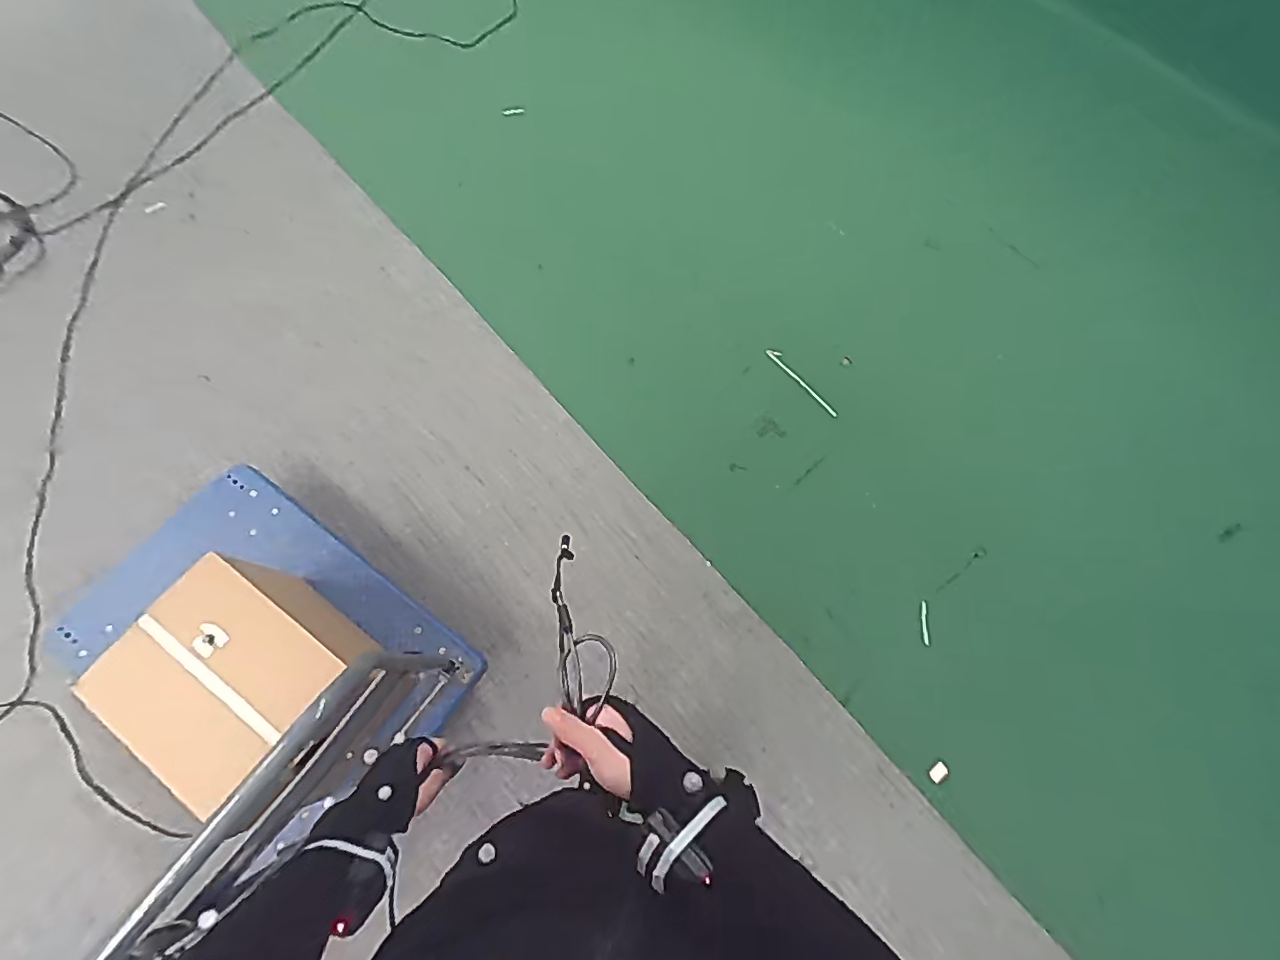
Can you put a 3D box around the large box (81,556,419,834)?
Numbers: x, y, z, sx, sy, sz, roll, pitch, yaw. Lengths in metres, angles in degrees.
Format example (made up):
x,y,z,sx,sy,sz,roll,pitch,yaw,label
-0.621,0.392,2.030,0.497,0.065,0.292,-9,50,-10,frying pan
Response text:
x,y,z,sx,sy,sz,roll,pitch,yaw,label
-0.750,0.417,1.108,0.408,0.320,0.320,34,72,11,large box
